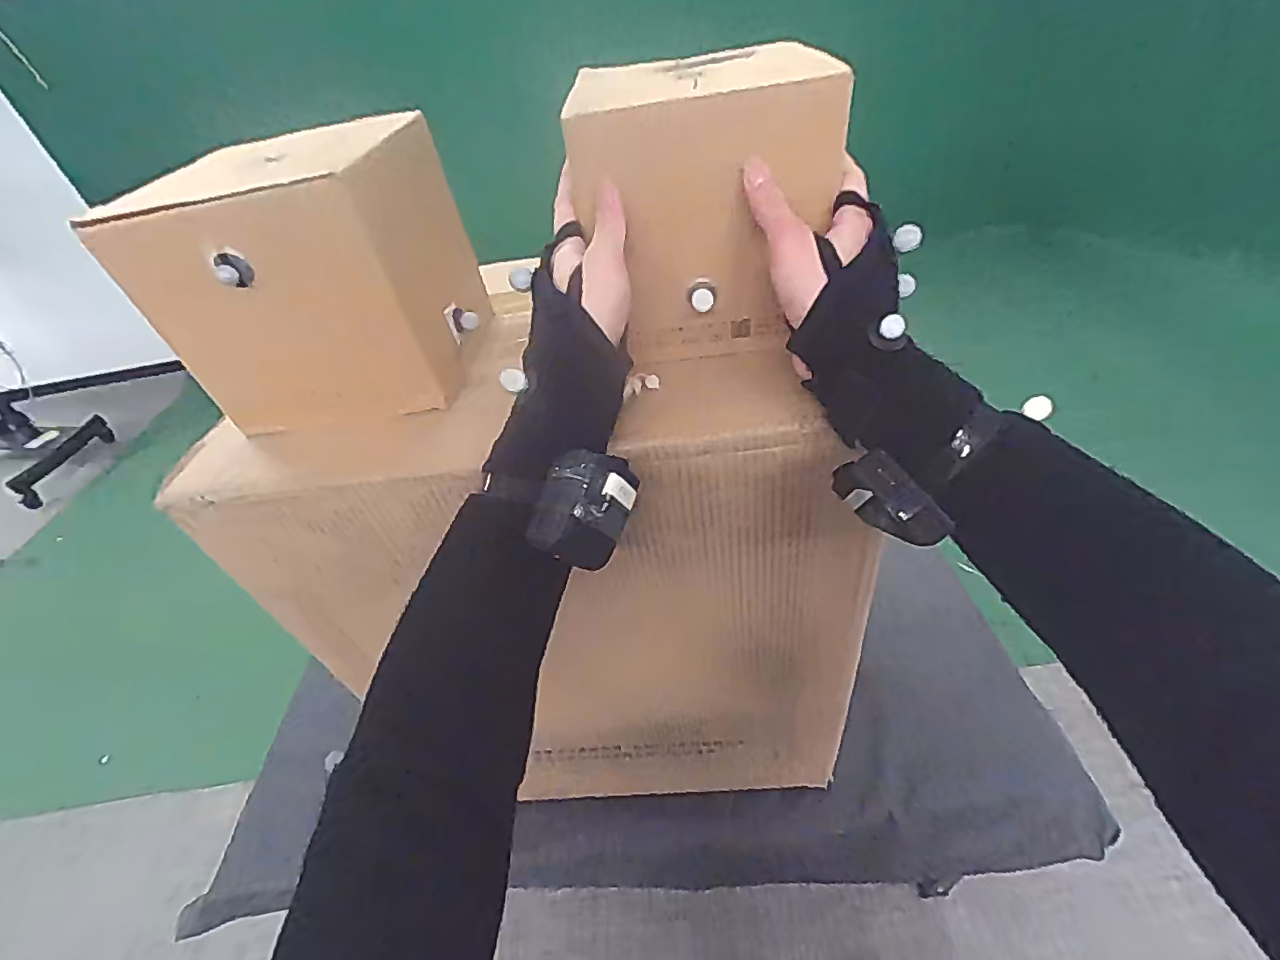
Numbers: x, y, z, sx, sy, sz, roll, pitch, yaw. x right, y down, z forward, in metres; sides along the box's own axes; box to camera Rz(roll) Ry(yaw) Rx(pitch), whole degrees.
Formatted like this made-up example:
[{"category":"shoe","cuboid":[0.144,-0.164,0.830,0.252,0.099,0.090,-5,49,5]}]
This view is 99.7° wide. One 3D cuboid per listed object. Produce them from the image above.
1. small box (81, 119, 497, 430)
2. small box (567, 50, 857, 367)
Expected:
[{"category":"small box","cuboid":[-0.234,-0.153,0.421,0.179,0.176,0.168,-6,44,6]},{"category":"small box","cuboid":[0.048,-0.208,0.417,0.168,0.176,0.179,-5,44,5]}]
